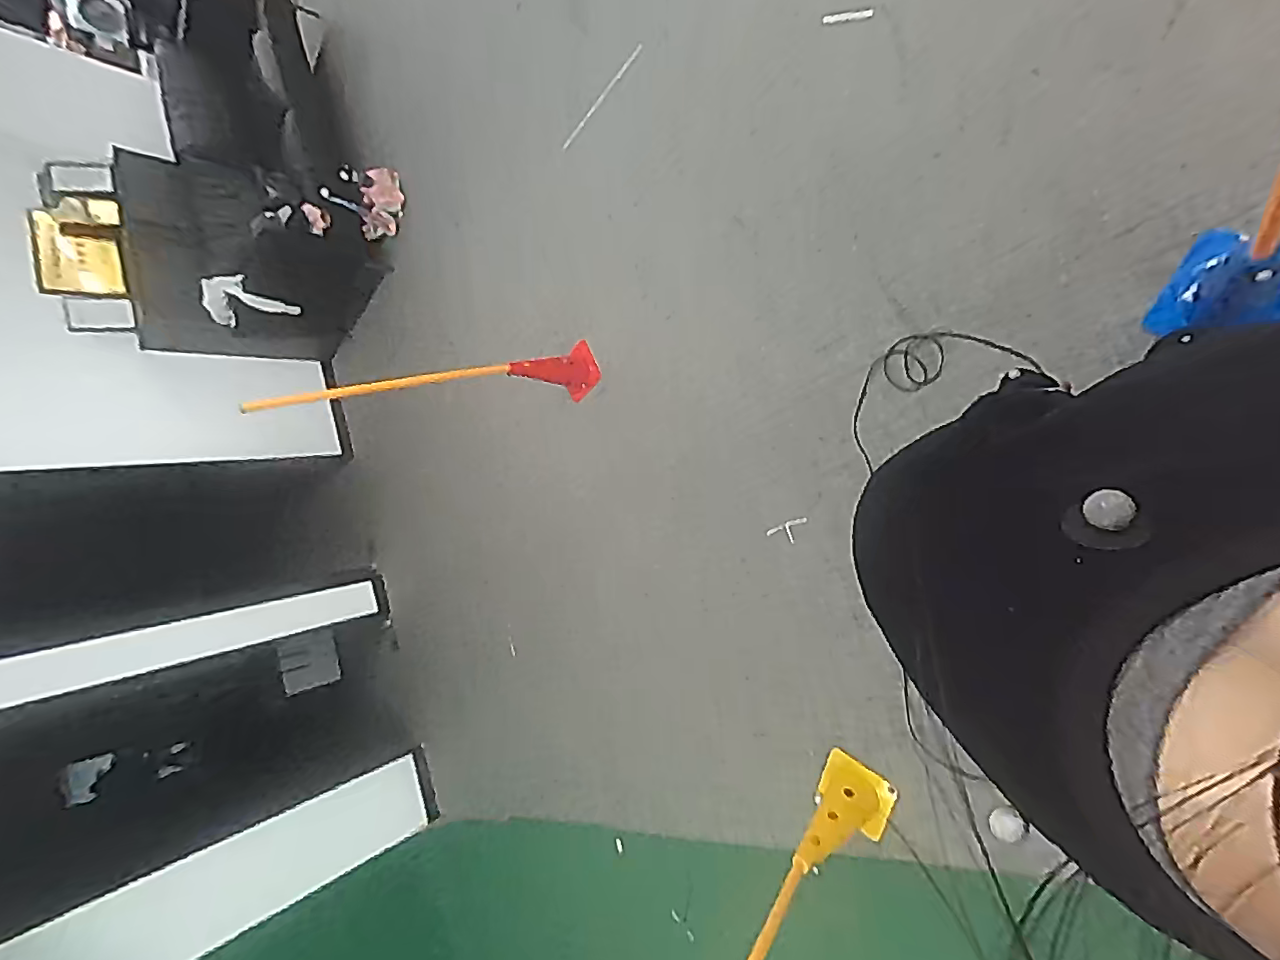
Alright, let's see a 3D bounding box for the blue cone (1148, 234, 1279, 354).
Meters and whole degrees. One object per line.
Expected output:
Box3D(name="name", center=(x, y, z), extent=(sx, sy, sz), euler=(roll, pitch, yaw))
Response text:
Box3D(name="blue cone", center=(0.991, -0.337, 0.888), extent=(0.192, 0.380, 0.193), euler=(35, 116, 35))
